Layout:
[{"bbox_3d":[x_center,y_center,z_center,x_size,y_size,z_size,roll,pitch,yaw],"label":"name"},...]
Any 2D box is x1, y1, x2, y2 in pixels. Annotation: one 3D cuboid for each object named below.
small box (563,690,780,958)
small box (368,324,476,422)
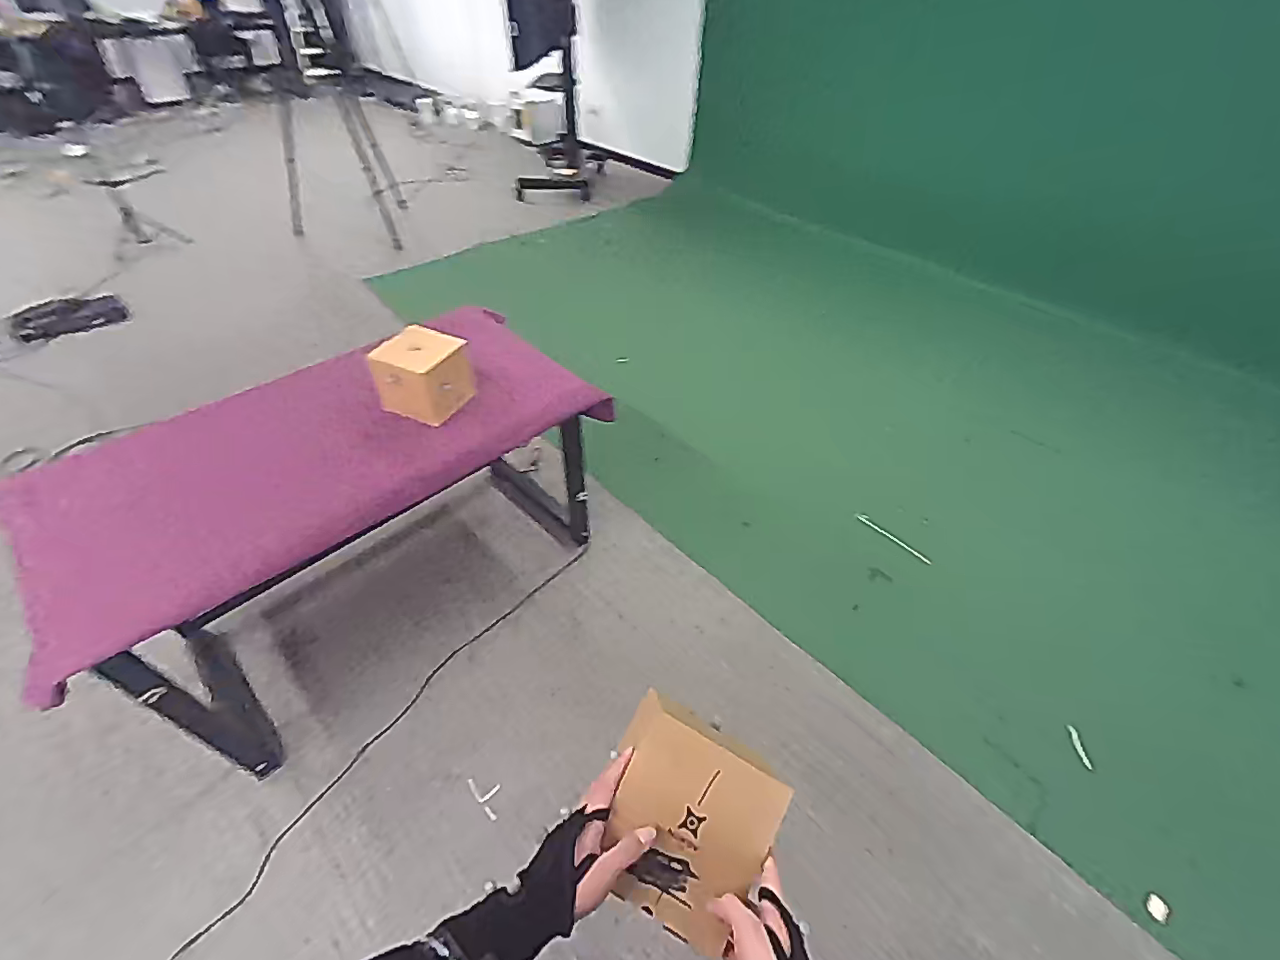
[{"bbox_3d":[0.032,0.372,0.626,0.168,0.176,0.179,30,77,4],"label":"small box"},{"bbox_3d":[-0.550,-0.272,1.391,0.179,0.176,0.168,20,48,16],"label":"small box"}]
